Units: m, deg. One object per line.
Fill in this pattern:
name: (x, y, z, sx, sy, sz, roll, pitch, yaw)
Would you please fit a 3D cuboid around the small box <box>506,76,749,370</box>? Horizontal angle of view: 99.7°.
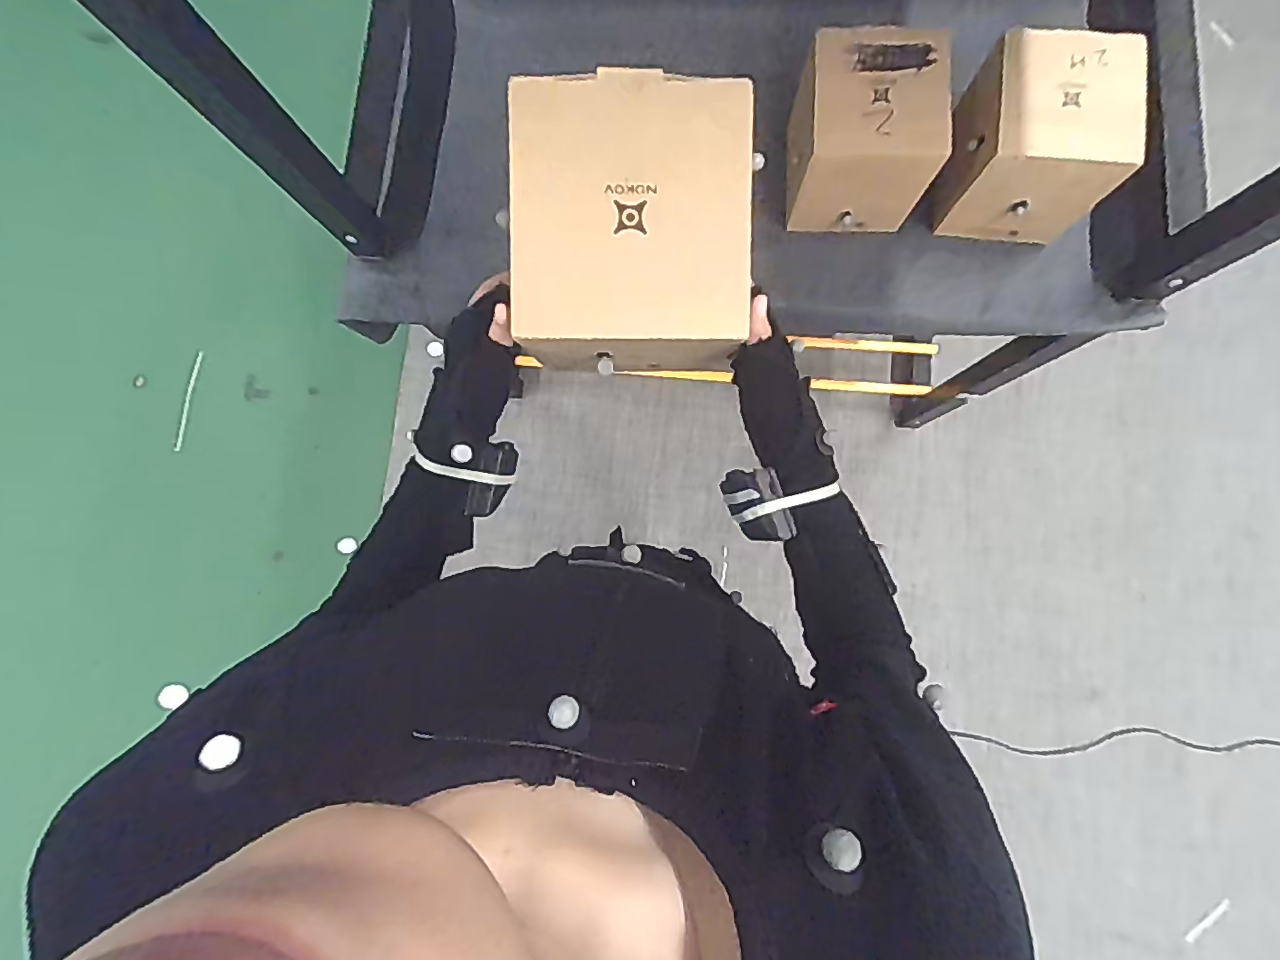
small box: (-0.009, -0.188, 0.446, 0.168, 0.176, 0.179, 0, 93, -1)
